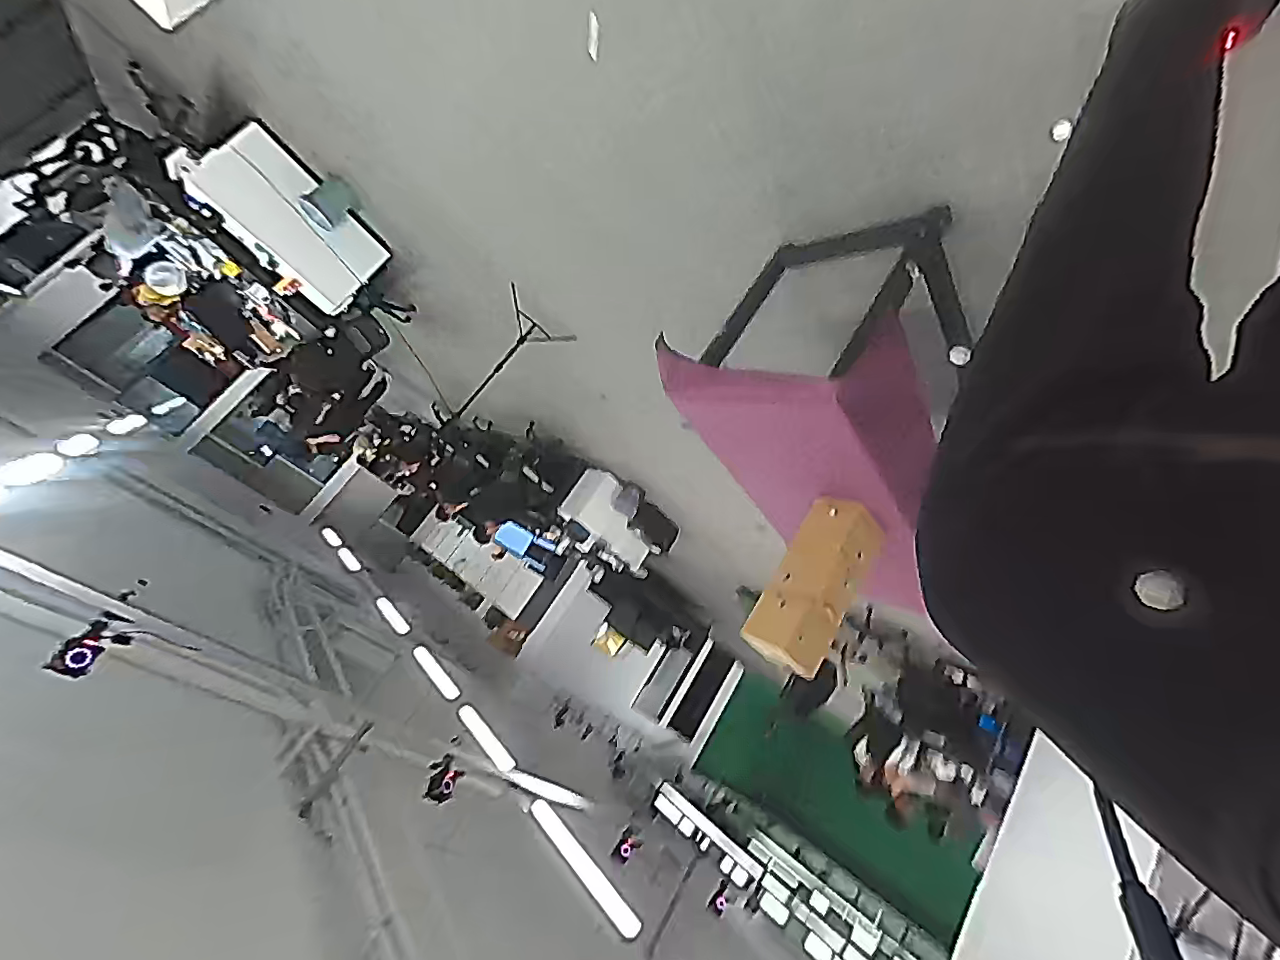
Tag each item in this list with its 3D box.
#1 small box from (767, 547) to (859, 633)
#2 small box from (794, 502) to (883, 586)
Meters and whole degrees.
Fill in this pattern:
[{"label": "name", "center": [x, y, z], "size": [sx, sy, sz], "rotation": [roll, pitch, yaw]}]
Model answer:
[{"label": "small box", "center": [0.520, 0.321, 1.614], "size": [0.179, 0.176, 0.168], "rotation": [14, 154, 50]}, {"label": "small box", "center": [0.612, 0.192, 1.658], "size": [0.179, 0.176, 0.168], "rotation": [46, 160, -30]}]
